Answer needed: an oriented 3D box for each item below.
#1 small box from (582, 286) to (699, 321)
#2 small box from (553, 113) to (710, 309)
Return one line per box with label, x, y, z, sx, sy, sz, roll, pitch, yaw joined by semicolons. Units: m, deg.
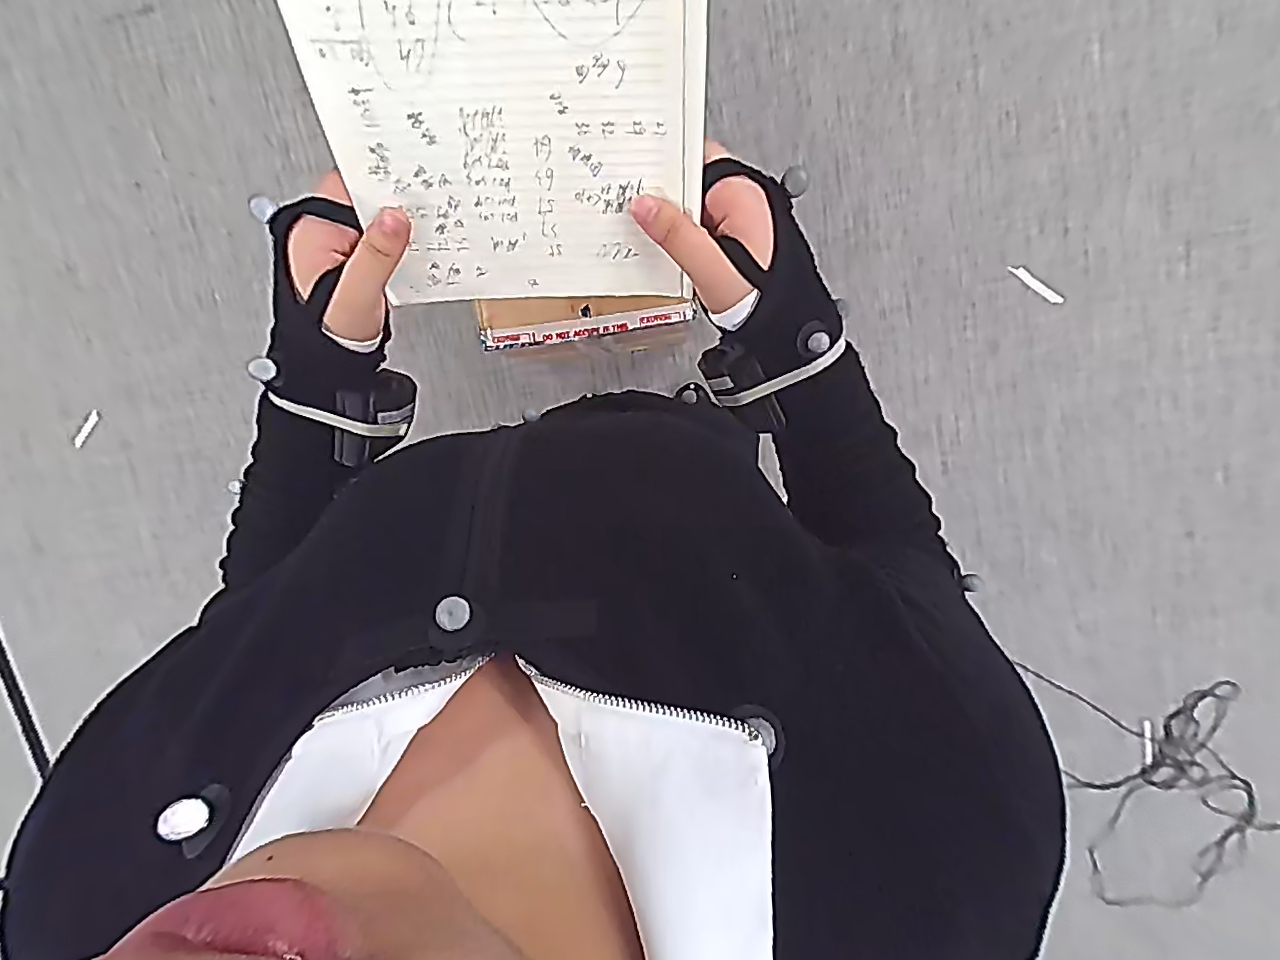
small box;-0.012;-0.361;0.867;0.179;0.176;0.168;-12;99;3
small box;-0.009;-0.334;0.704;0.168;0.176;0.179;-9;101;2
